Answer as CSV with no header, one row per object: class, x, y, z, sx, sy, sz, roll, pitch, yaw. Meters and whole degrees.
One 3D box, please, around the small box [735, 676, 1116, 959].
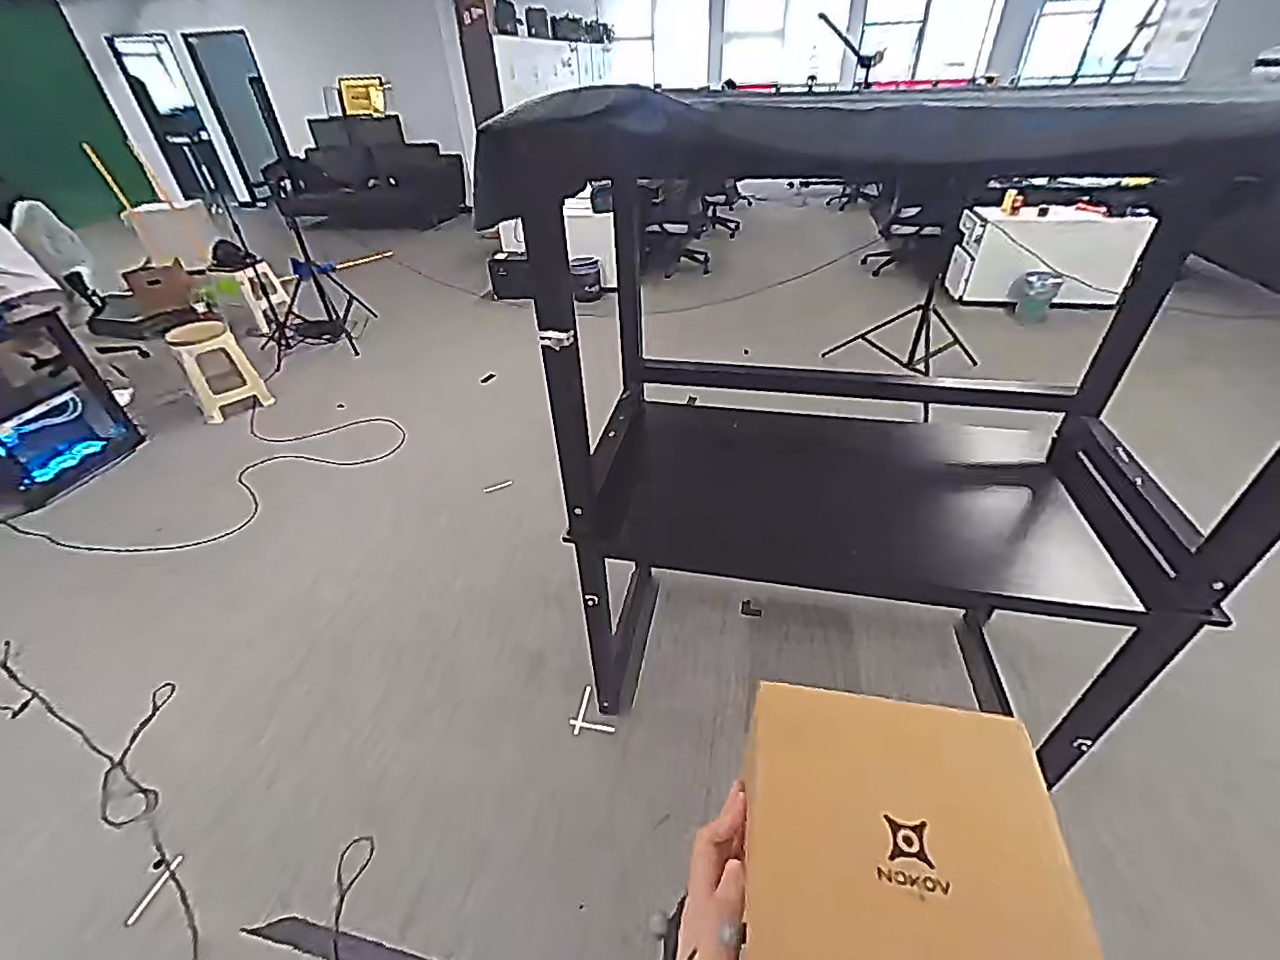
small box,0.150,0.257,0.340,0.168,0.176,0.179,6,41,10
